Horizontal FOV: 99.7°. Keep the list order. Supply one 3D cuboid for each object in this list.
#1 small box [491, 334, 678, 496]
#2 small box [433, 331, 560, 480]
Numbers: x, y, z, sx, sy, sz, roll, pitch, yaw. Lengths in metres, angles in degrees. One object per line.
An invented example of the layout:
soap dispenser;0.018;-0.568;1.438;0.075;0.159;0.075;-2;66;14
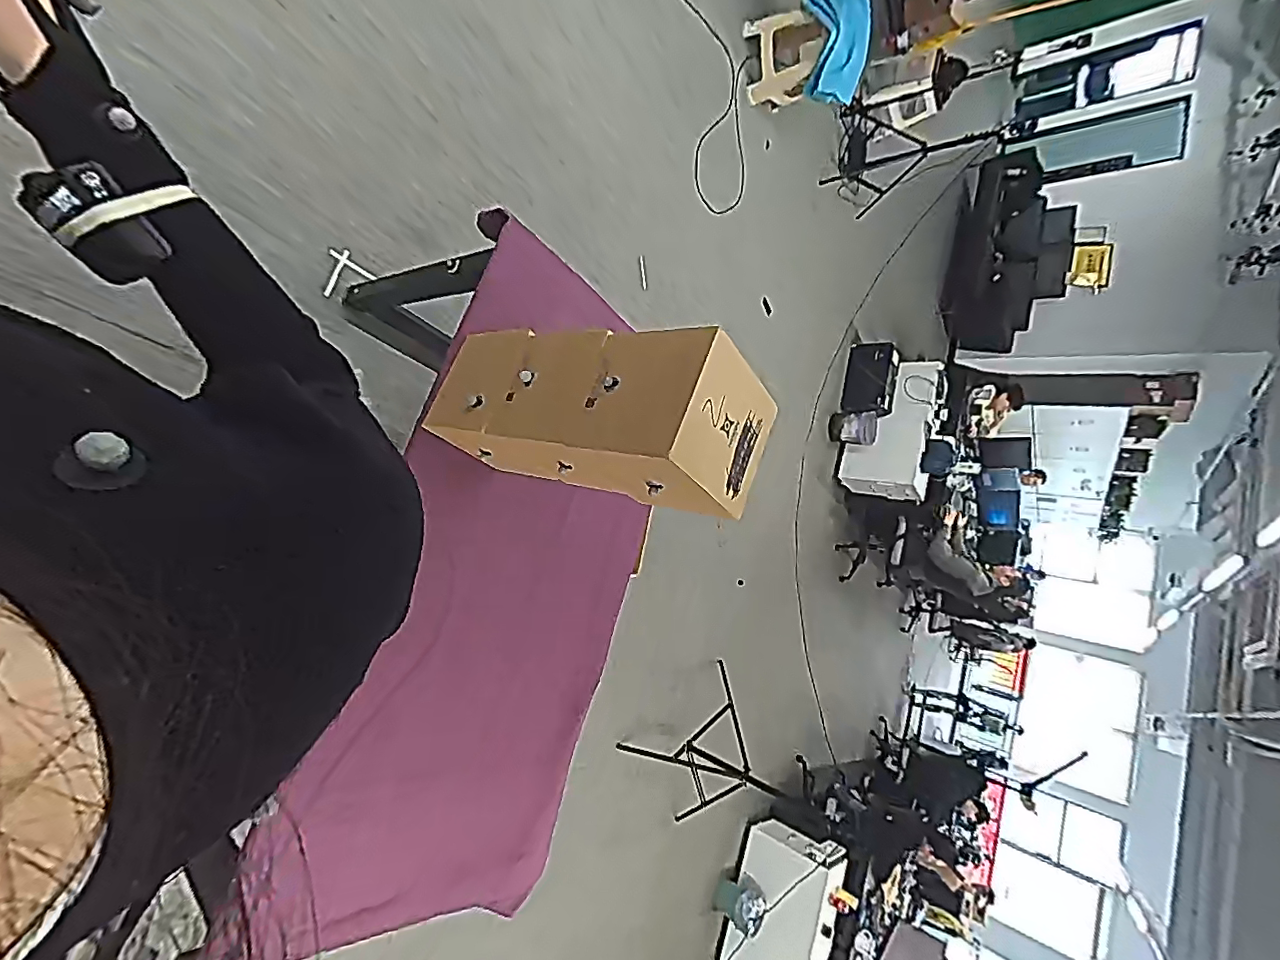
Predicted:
small box;-0.078;-0.093;0.785;0.179;0.176;0.168;35;70;-47
small box;-0.207;-0.119;0.883;0.168;0.176;0.179;37;68;-47
